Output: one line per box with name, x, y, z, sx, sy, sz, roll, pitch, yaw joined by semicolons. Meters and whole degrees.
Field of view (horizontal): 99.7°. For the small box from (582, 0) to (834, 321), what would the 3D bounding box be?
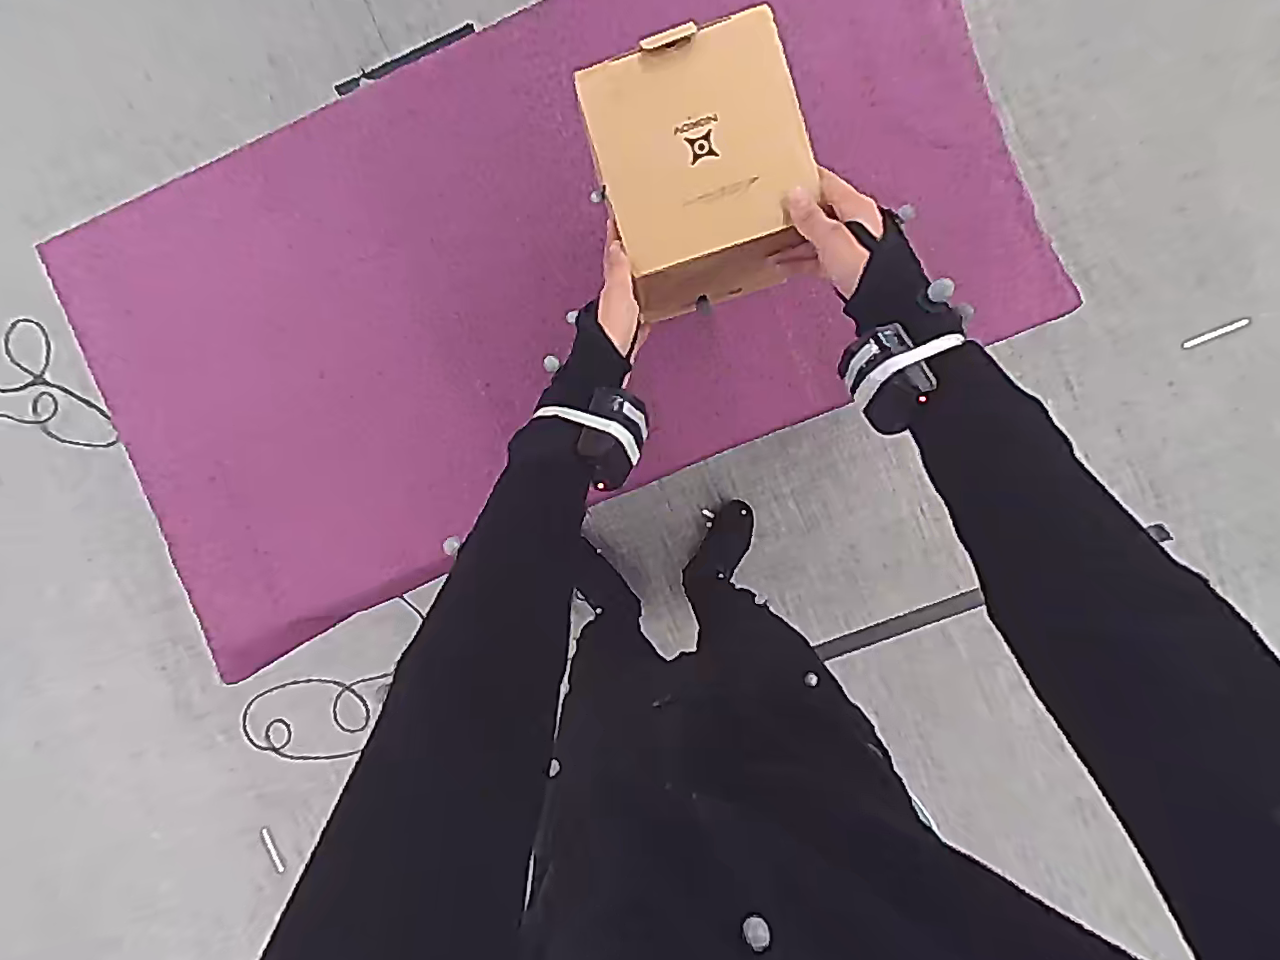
small box;0.056;-0.272;0.504;0.168;0.176;0.179;-16;91;4
